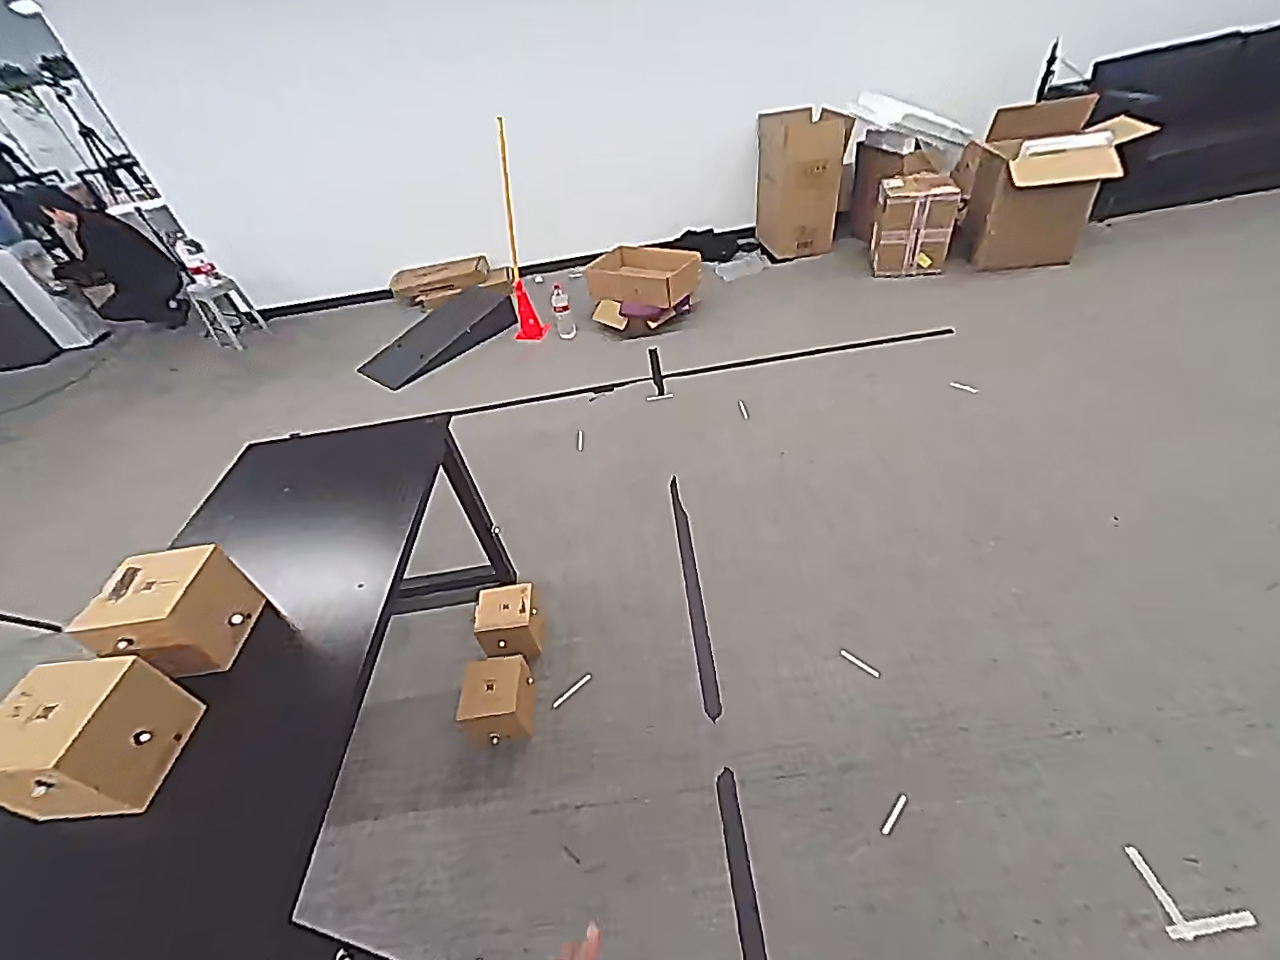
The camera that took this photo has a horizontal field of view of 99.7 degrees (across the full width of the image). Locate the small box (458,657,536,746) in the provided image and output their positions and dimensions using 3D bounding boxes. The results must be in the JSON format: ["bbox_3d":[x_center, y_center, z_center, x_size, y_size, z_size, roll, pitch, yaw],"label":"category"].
[{"bbox_3d":[-0.406,0.644,1.571,0.168,0.176,0.179,-10,42,2],"label":"small box"}]

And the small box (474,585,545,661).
[{"bbox_3d":[-0.420,0.471,1.768,0.179,0.176,0.168,-10,41,2],"label":"small box"}]

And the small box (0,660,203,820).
[{"bbox_3d":[-0.835,0.397,0.825,0.179,0.176,0.168,-7,40,5],"label":"small box"}]

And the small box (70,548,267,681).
[{"bbox_3d":[-0.846,0.251,0.995,0.179,0.176,0.168,-9,41,1],"label":"small box"}]
